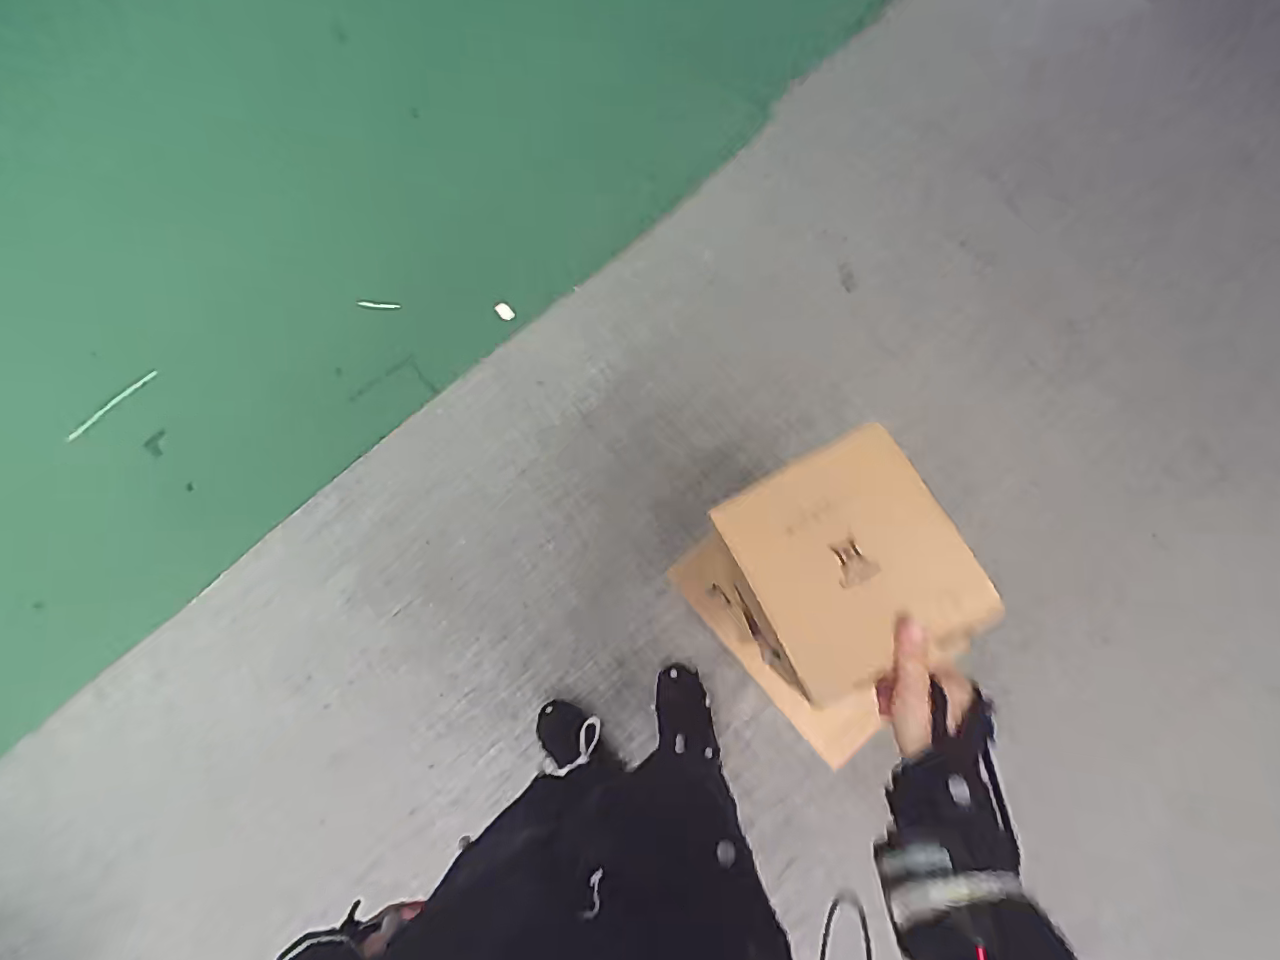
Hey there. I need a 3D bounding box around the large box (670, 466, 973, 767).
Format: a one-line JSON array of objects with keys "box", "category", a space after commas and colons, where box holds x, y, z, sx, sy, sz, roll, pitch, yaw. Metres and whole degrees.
[{"box": [0.307, 0.242, 1.042, 0.320, 0.320, 0.408, -41, 76, -2], "category": "large box"}]

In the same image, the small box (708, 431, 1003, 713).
[{"box": [0.177, 0.086, 0.505, 0.168, 0.176, 0.179, -27, 73, 0], "category": "small box"}]
